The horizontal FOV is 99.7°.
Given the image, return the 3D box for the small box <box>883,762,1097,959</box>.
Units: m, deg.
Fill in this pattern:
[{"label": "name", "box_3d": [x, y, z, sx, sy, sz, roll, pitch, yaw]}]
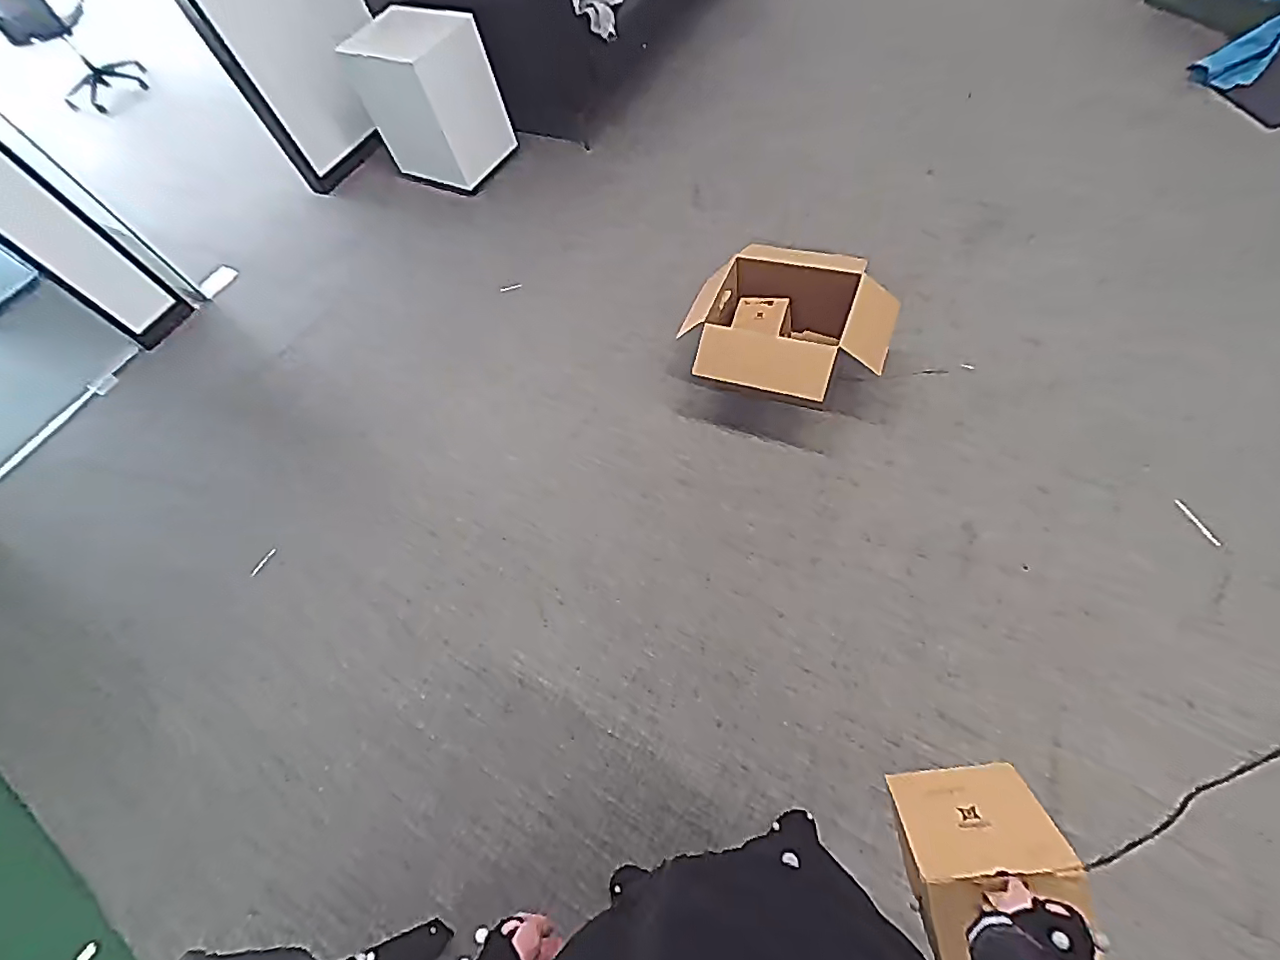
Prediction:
[{"label": "small box", "box_3d": [0.423, 0.488, 0.670, 0.168, 0.179, 0.176, -12, 94, 11]}]
